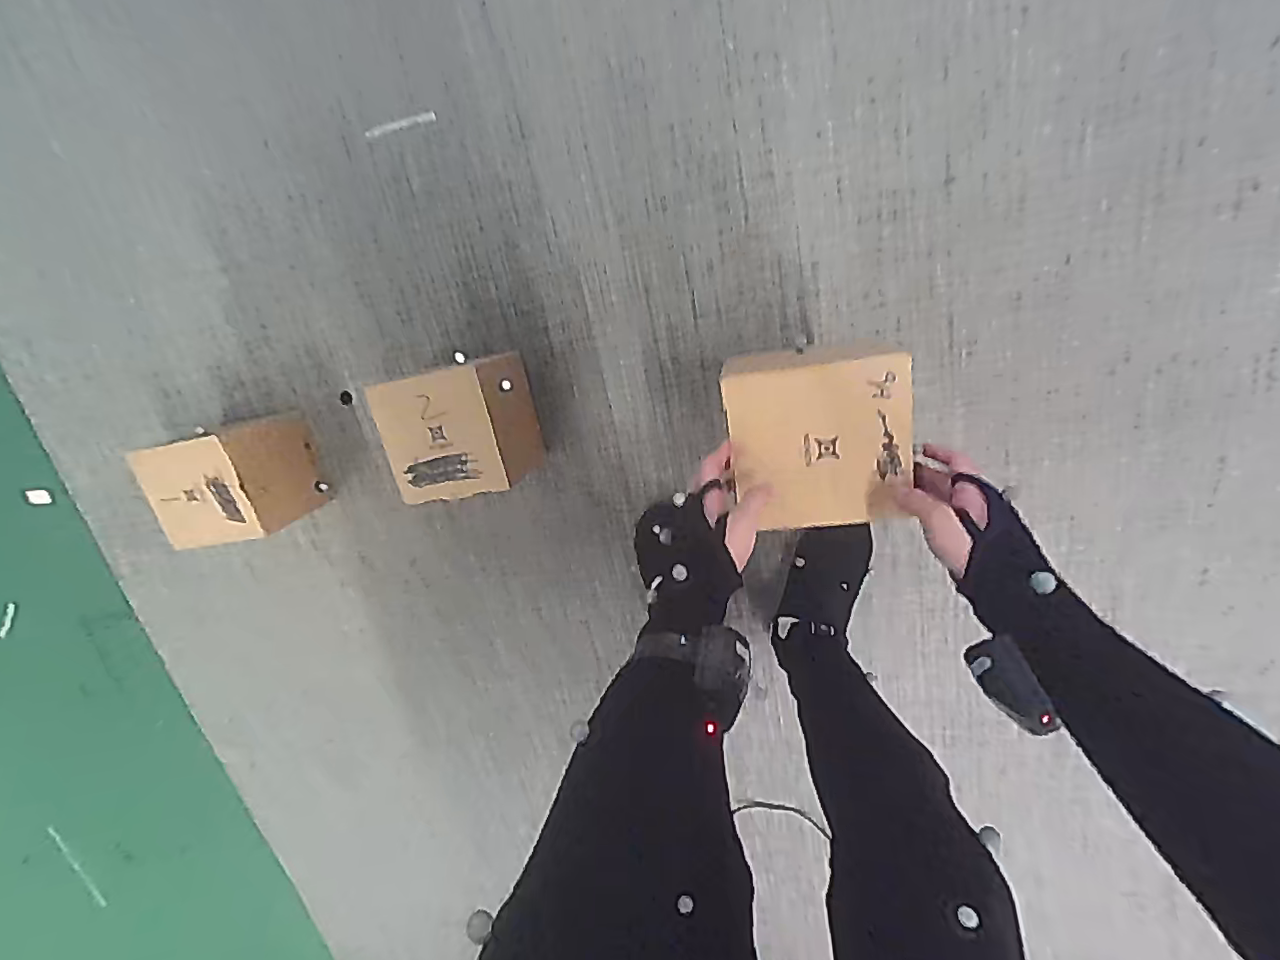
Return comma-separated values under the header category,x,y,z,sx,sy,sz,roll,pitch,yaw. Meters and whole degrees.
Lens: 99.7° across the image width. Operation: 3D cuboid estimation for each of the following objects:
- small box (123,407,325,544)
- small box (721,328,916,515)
category,x,y,z,sx,sy,sz,roll,pitch,yaw
small box,-0.649,-0.014,0.873,0.179,0.176,0.168,-8,108,11
small box,0.191,-0.070,0.598,0.179,0.176,0.168,-5,108,14
